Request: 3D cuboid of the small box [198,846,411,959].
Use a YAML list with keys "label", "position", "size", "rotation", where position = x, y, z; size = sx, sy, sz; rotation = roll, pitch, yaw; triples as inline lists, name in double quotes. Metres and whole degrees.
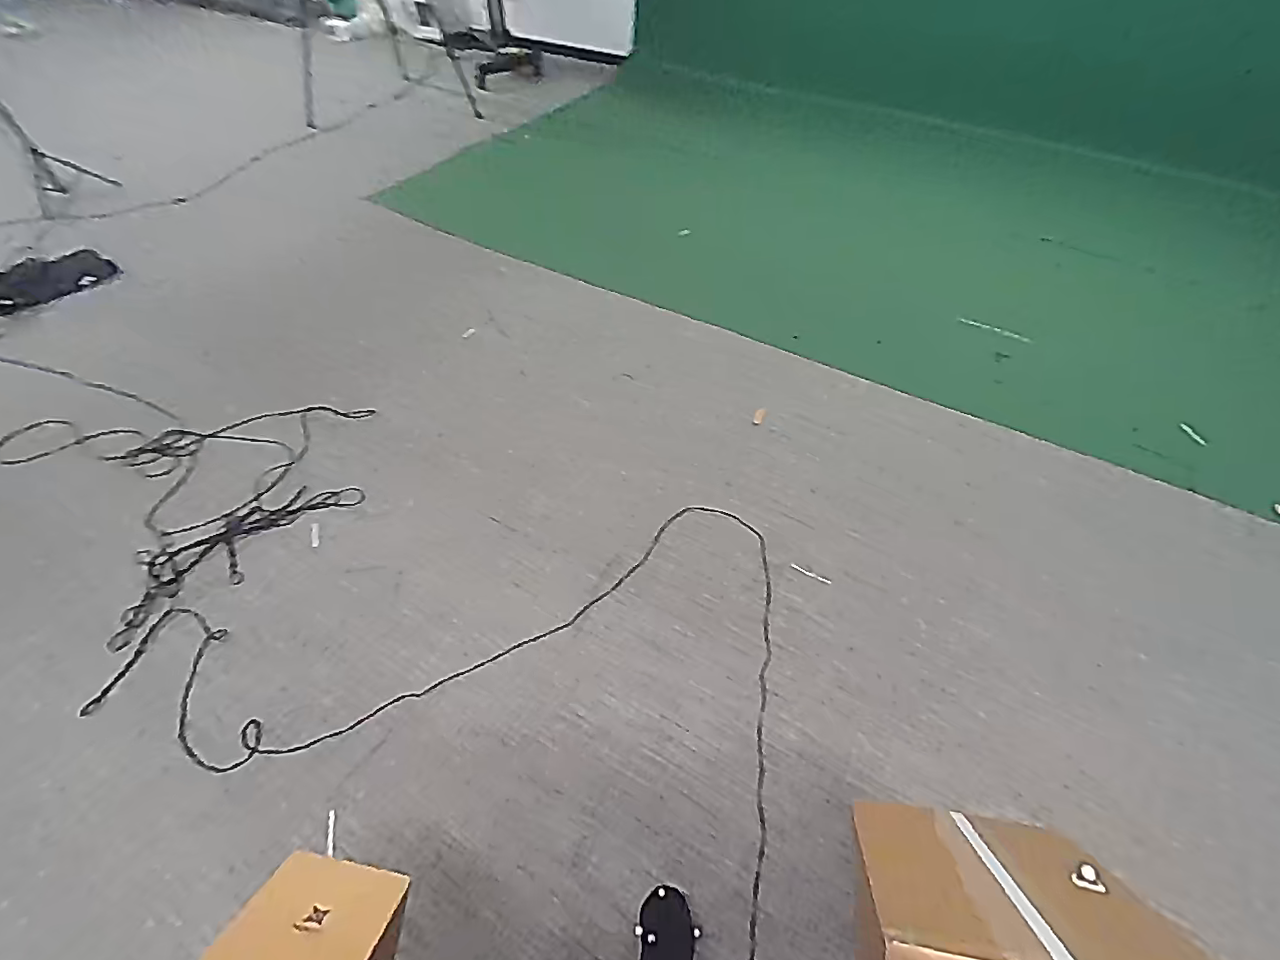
- label: "small box"
  position: [-0.411, 0.603, 0.655]
  size: [0.168, 0.179, 0.176]
  rotation: [15, 95, 0]
